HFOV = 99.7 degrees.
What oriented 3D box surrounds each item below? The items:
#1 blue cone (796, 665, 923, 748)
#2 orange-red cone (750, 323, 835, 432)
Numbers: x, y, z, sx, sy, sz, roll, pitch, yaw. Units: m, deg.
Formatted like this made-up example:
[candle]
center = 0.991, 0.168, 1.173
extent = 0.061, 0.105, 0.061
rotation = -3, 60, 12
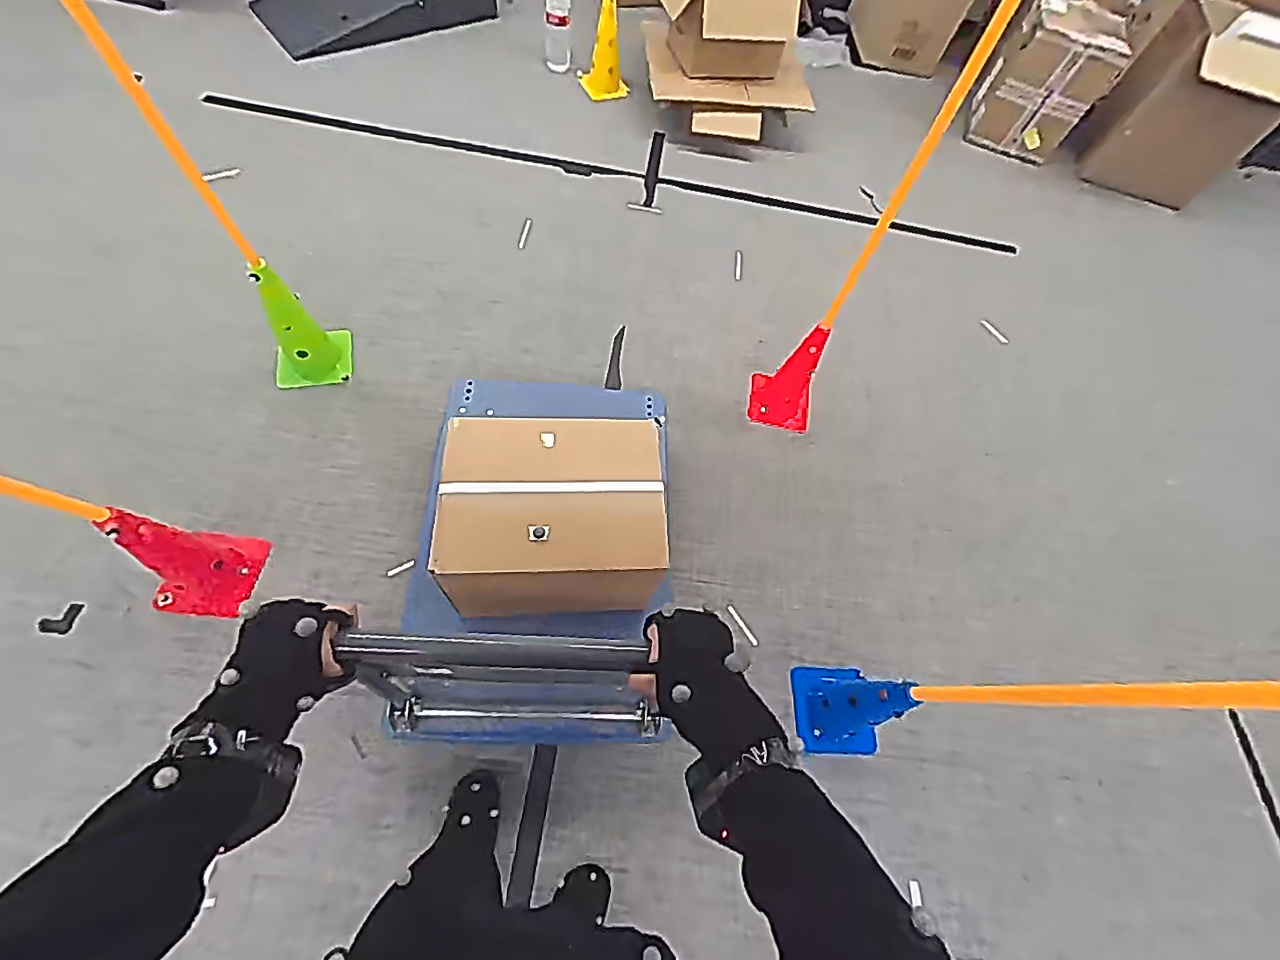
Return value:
[blue cone]
center = 0.510, 0.485, 1.204
extent = 0.193, 0.380, 0.192
rotation = 6, 61, -6
[orange-red cone]
center = 0.485, -0.332, 1.605
extent = 0.199, 0.360, 0.198
rotation = 15, 62, -1
